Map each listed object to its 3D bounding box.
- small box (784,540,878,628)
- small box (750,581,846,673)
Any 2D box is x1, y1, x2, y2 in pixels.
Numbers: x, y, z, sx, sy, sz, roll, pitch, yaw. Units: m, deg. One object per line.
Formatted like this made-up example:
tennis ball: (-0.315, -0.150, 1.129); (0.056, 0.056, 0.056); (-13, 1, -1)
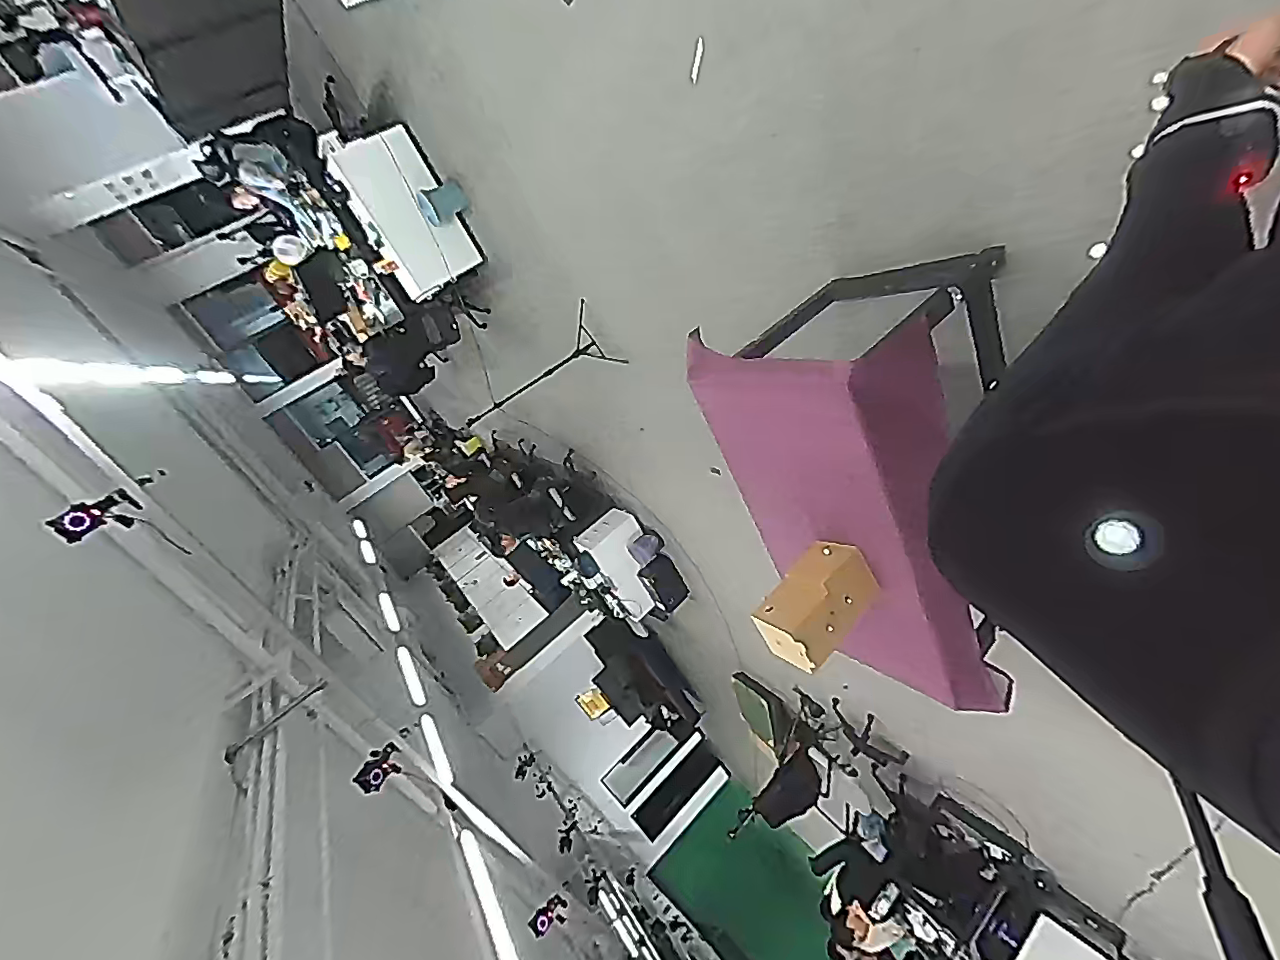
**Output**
small box: (0.578, 0.307, 1.624); (0.179, 0.176, 0.168); (57, 159, -15)
small box: (0.464, 0.422, 1.583); (0.168, 0.176, 0.179); (58, 159, -20)
